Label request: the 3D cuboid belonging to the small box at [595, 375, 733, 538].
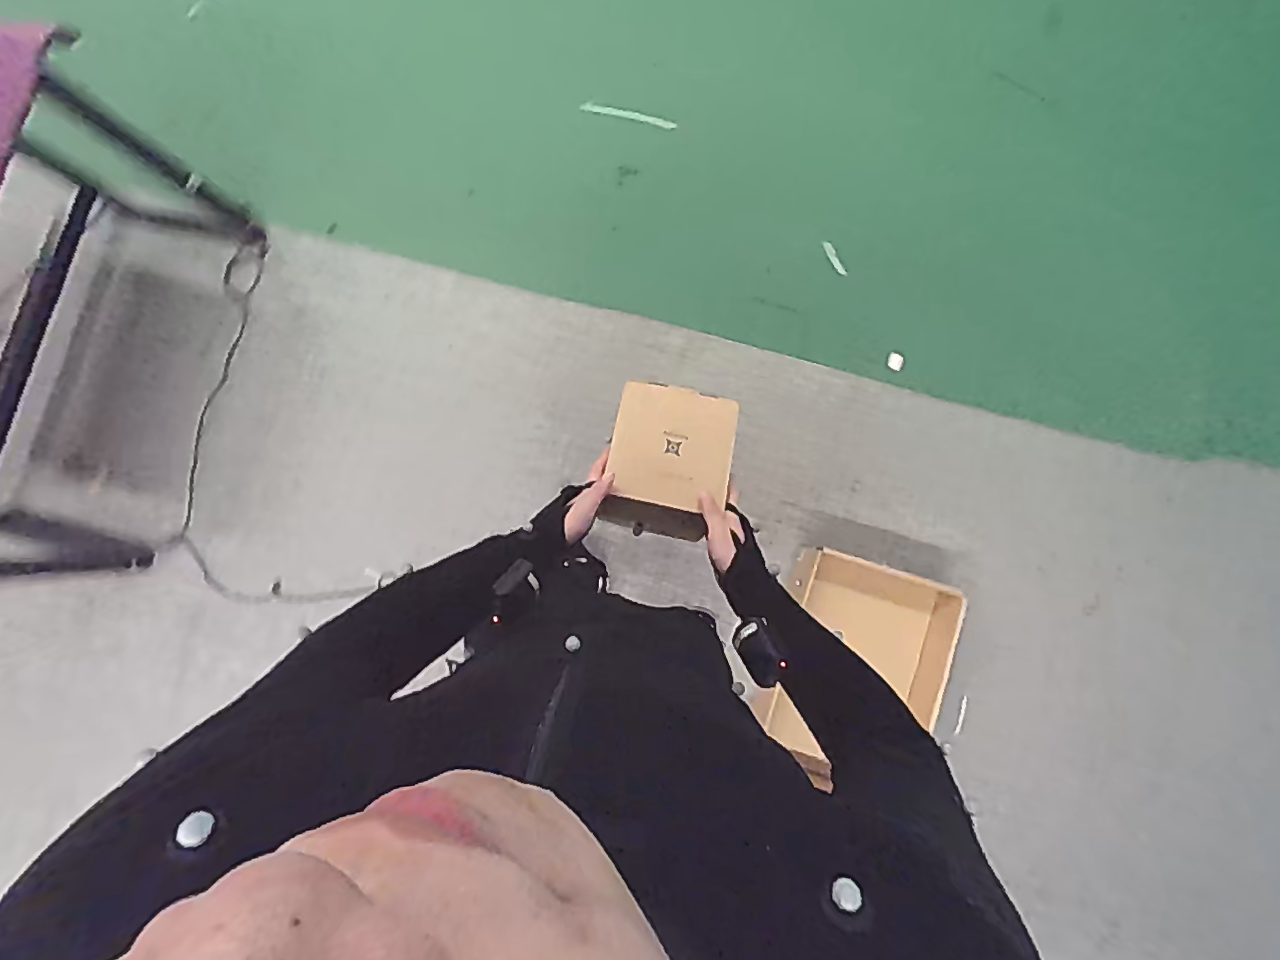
[{"bbox_3d":[0.028,-0.027,0.799,0.168,0.176,0.179,11,72,-2],"label":"small box"}]
